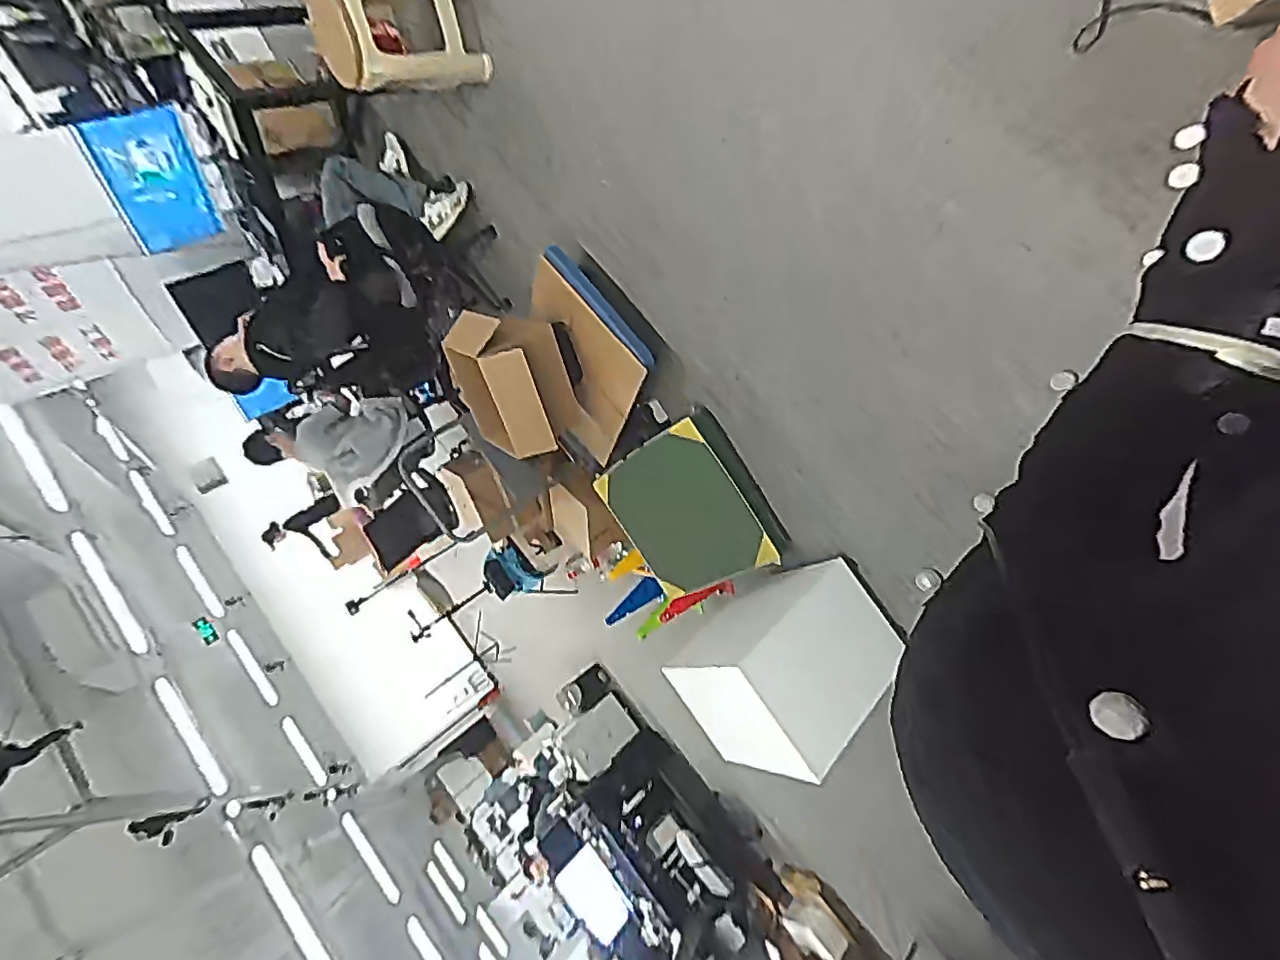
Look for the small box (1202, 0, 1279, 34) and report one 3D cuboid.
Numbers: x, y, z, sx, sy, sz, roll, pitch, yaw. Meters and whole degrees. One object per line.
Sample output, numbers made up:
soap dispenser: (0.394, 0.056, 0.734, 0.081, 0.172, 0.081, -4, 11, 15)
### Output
small box: (0.787, -0.688, 0.643, 0.168, 0.176, 0.179, -15, 106, 59)
